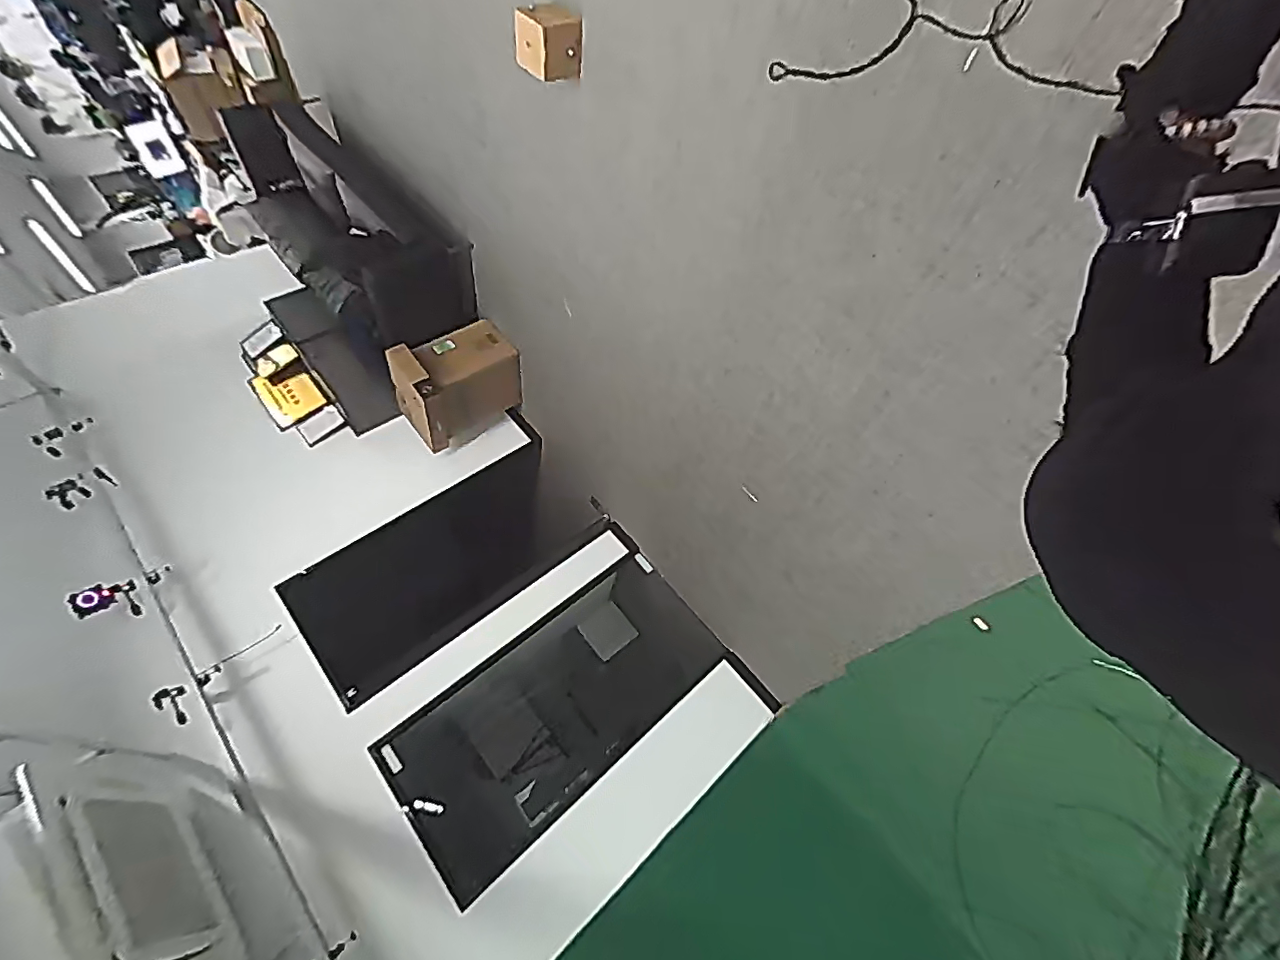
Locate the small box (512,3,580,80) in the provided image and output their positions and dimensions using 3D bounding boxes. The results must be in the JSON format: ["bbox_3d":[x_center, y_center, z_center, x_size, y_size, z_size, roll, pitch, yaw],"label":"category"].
[{"bbox_3d":[-0.337,-1.573,1.934,0.179,0.176,0.168,46,152,19],"label":"small box"}]
